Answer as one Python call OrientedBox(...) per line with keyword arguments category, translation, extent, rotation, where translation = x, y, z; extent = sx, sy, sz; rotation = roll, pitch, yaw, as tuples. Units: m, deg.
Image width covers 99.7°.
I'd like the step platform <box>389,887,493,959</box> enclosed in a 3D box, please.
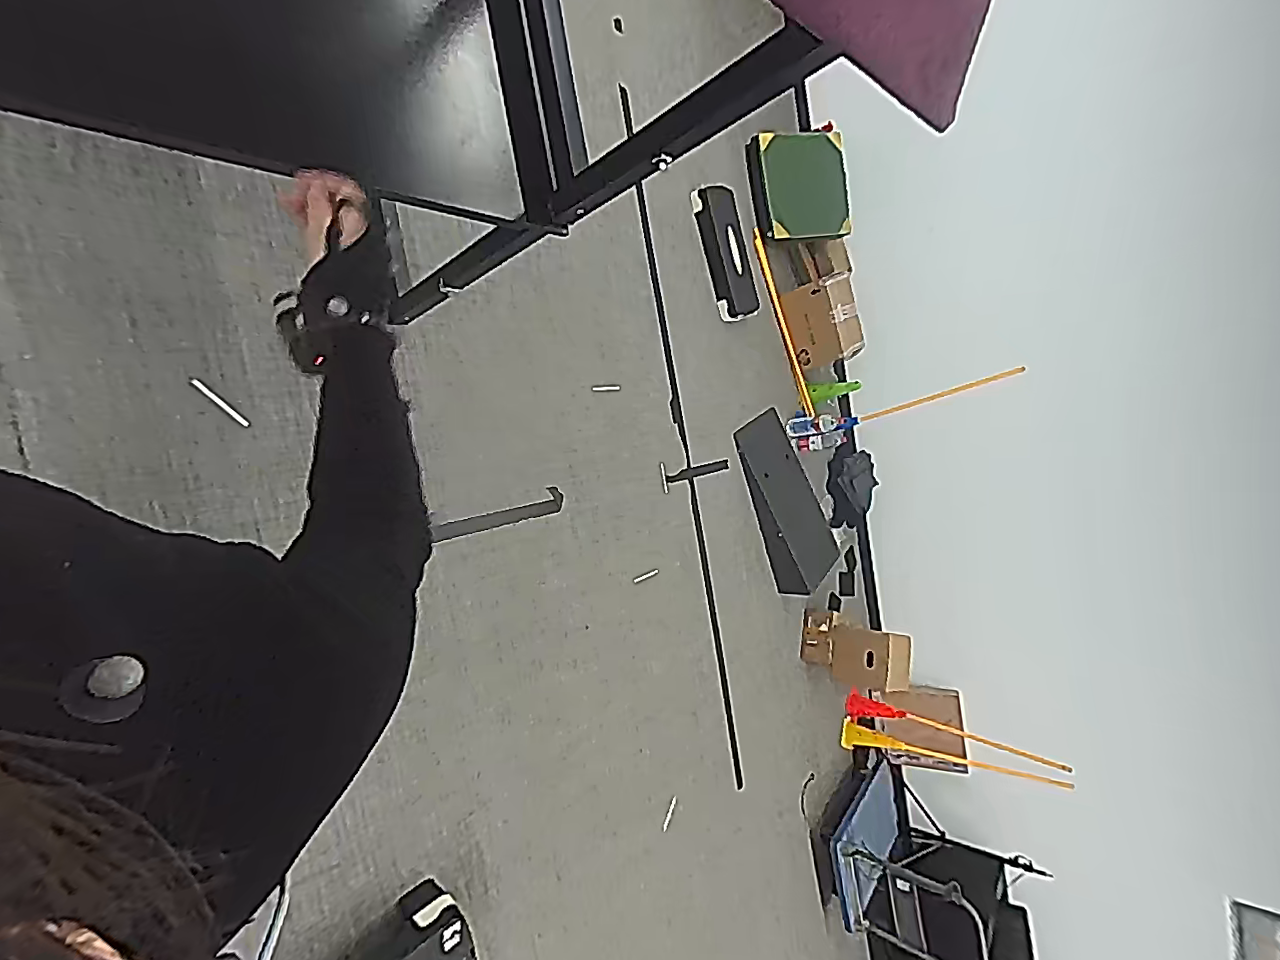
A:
OrientedBox(category="step platform", translation=(-0.674, 1.297, 1.248), extent=(0.684, 0.204, 0.286), rotation=(-5, 89, -48))
